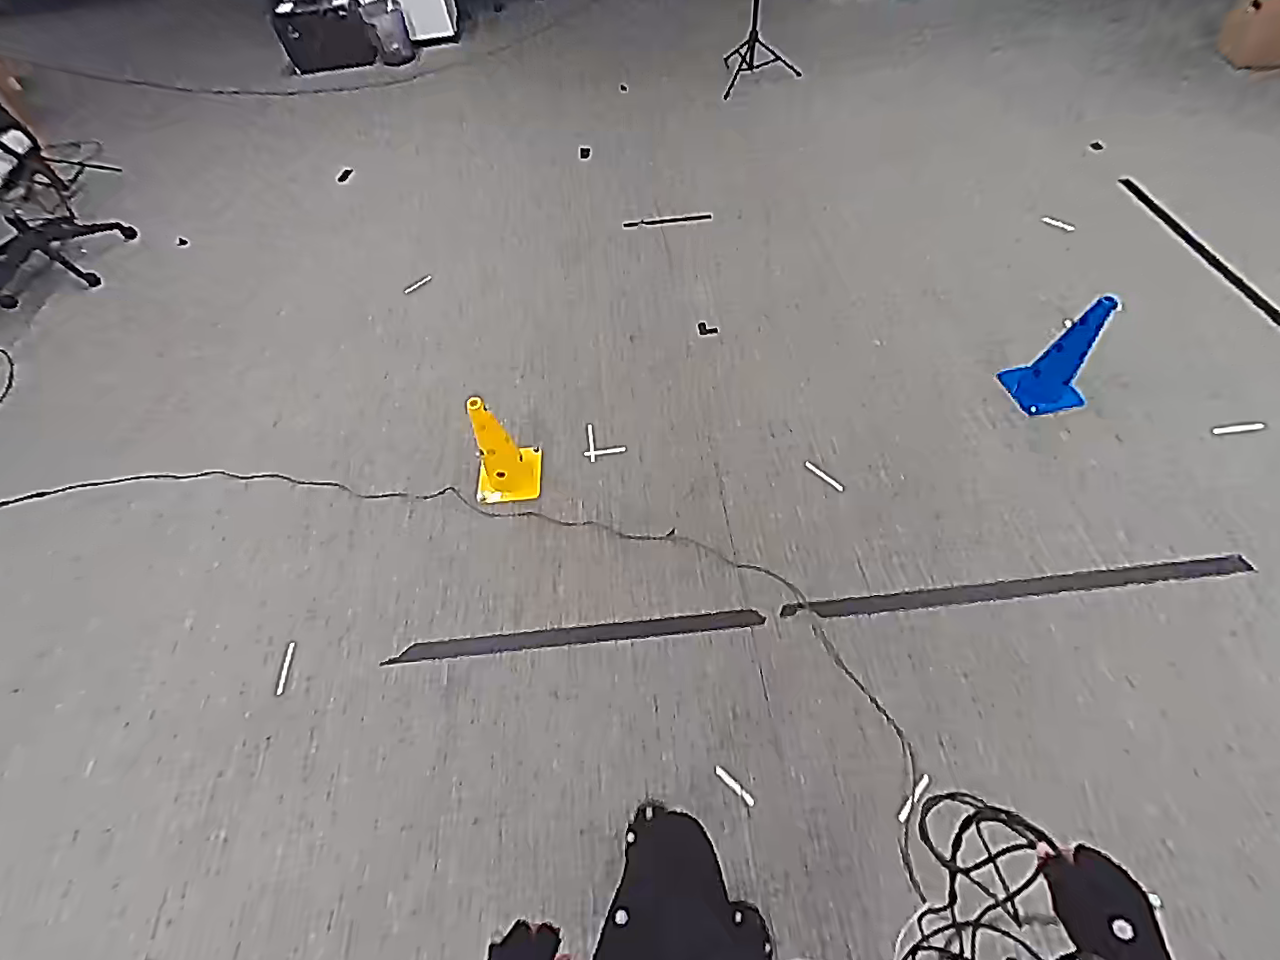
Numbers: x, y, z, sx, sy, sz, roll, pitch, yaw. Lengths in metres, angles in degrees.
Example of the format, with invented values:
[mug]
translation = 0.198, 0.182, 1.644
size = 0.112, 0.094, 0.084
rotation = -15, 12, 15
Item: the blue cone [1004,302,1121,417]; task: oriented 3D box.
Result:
[blue cone]
translation = 1.307, -0.382, 1.636
size = 0.193, 0.380, 0.192
rotation = -11, 57, -2
